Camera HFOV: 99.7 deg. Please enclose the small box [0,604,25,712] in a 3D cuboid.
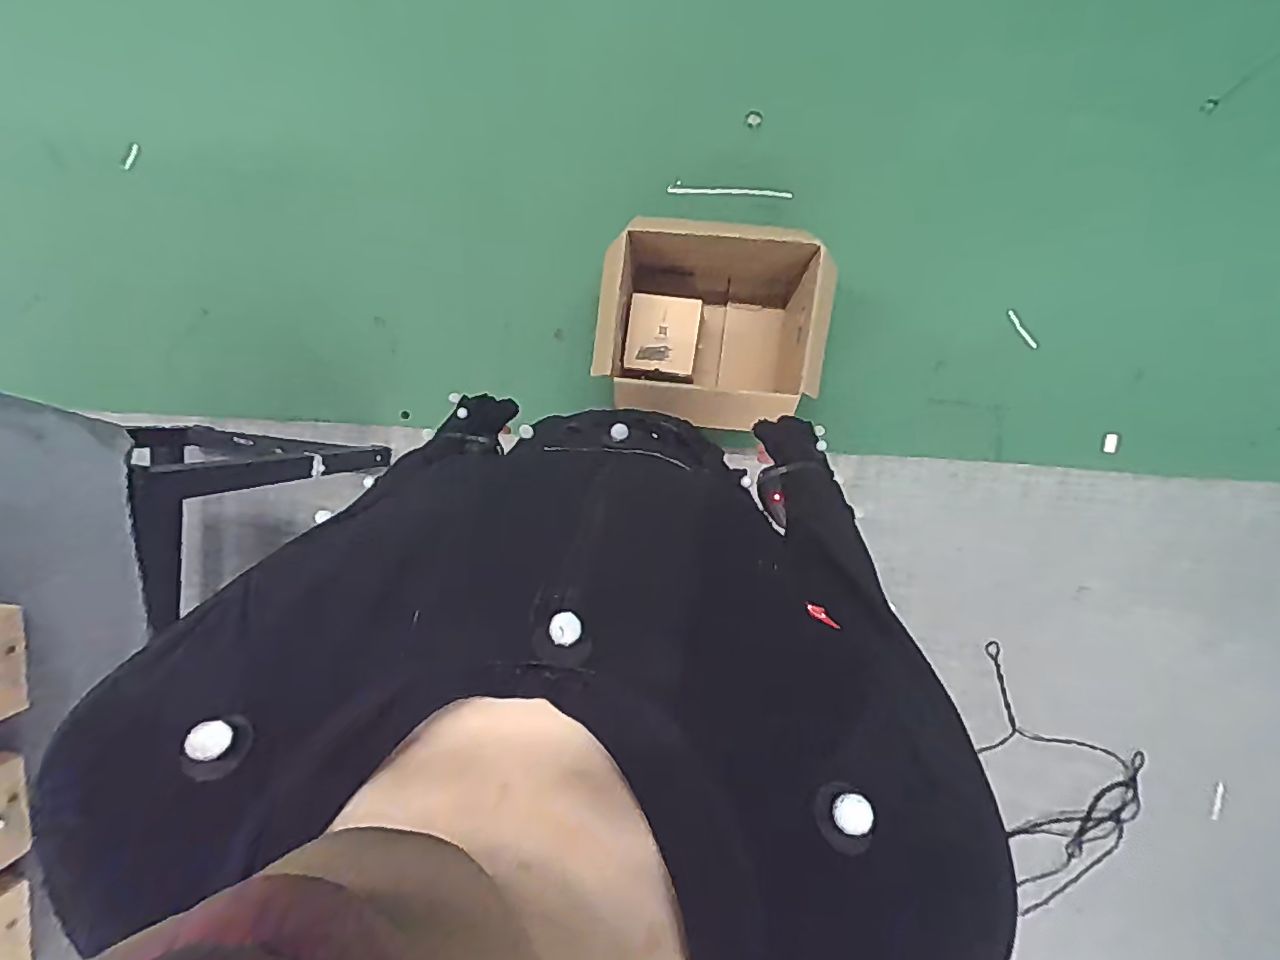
[{"bbox_3d":[-1.022,0.268,0.742,0.179,0.176,0.168,5,97,3],"label":"small box"}]
